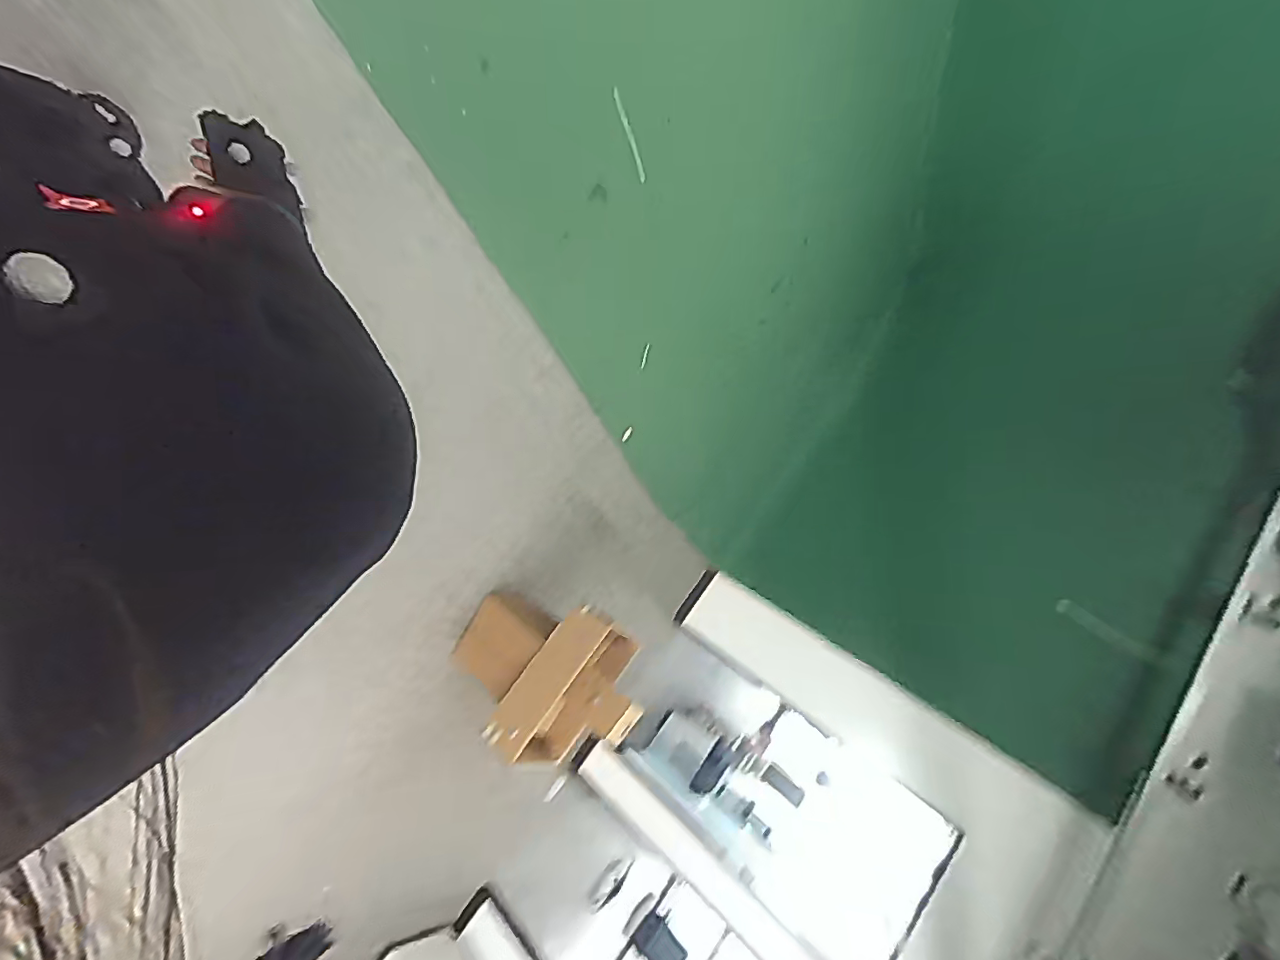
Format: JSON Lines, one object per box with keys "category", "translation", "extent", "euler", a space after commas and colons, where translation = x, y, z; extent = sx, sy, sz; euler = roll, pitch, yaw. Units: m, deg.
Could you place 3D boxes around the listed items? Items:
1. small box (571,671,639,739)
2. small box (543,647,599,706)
{"category": "small box", "translation": [-0.136, 0.874, 2.105], "extent": [0.168, 0.176, 0.179], "euler": [-49, 148, -15]}
{"category": "small box", "translation": [-0.260, 0.804, 2.187], "extent": [0.168, 0.176, 0.179], "euler": [-49, 149, -18]}
